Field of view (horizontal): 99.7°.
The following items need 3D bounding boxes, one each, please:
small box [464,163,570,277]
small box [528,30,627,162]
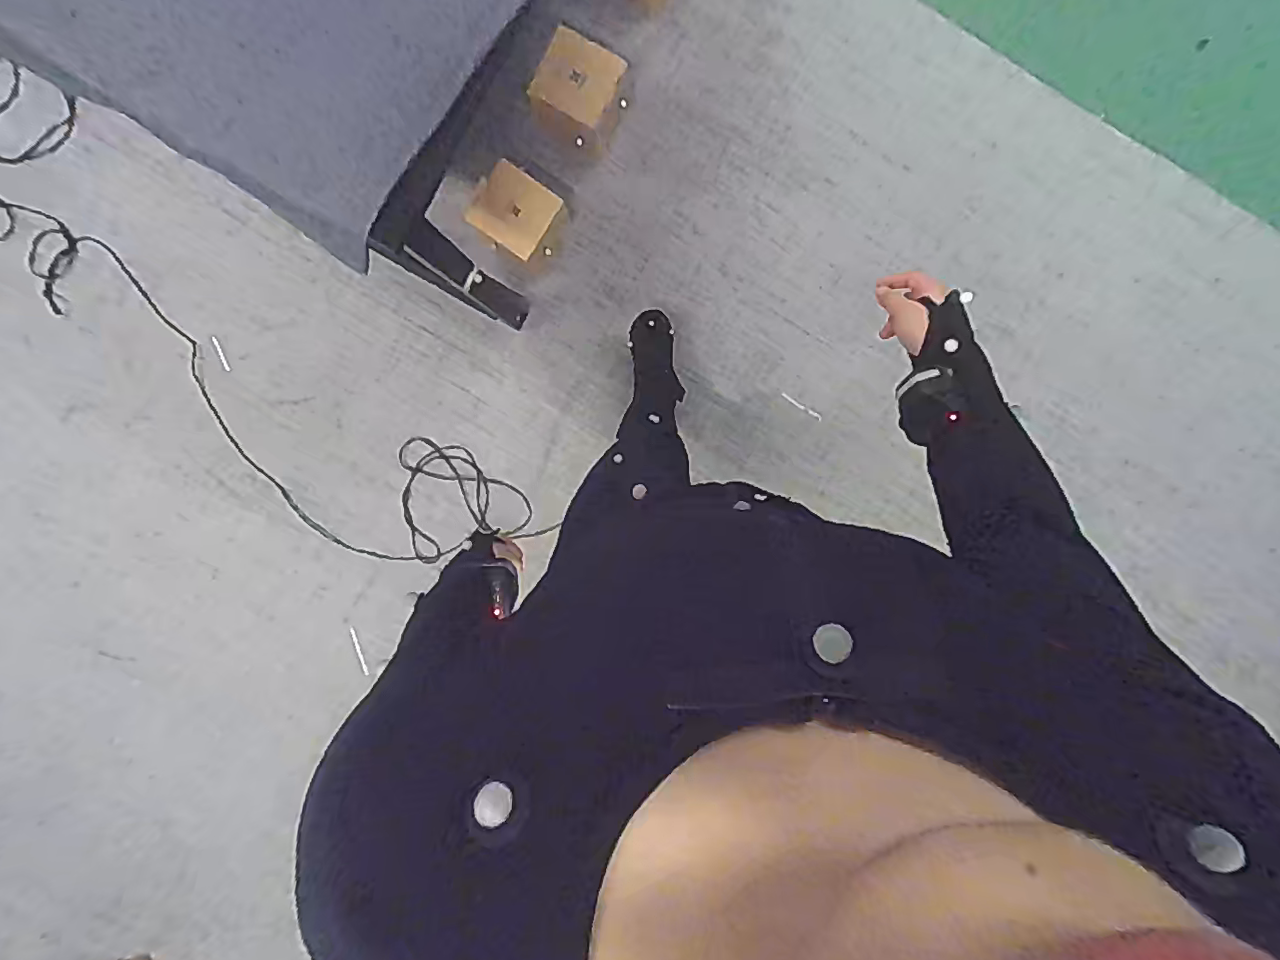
[{"bbox_3d":[-0.289,-0.621,1.322,0.179,0.176,0.168,34,95,-2],"label":"small box"},{"bbox_3d":[-0.140,-0.900,1.292,0.179,0.176,0.168,28,95,-1],"label":"small box"}]
